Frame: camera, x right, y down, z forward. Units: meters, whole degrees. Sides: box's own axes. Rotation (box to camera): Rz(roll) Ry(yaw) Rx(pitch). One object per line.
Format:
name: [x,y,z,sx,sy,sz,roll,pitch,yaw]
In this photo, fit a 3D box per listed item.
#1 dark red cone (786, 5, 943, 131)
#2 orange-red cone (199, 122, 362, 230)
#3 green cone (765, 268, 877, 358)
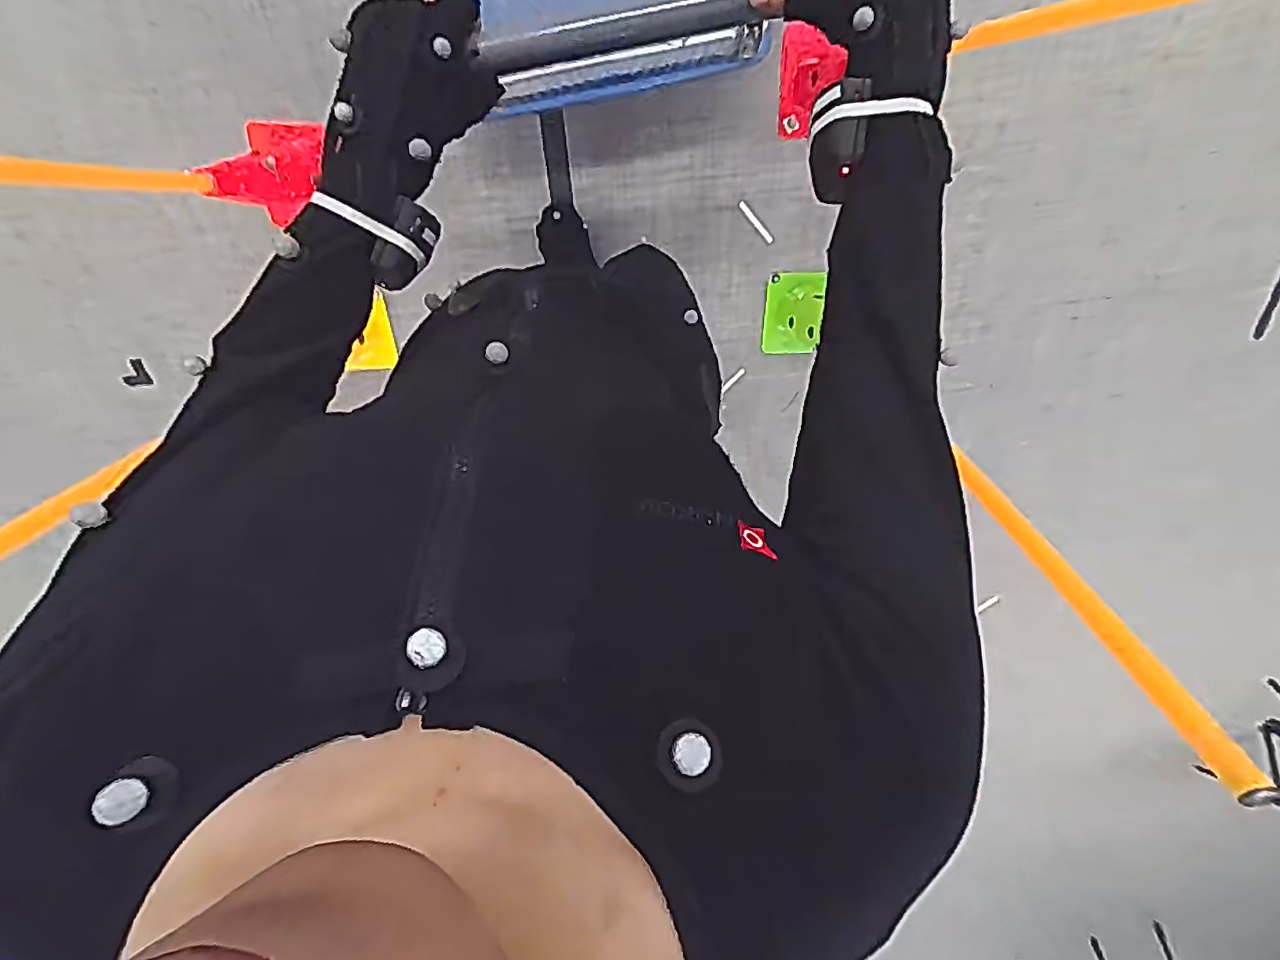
dark red cone: [0.412,-0.754,0.965,0.201,0.394,0.202,-7,121,-2]
orange-red cone: [-0.706,-0.574,1.025,0.198,0.360,0.199,0,119,-5]
green cone: [0.433,-0.344,1.225,0.202,0.368,0.200,-3,120,-3]
